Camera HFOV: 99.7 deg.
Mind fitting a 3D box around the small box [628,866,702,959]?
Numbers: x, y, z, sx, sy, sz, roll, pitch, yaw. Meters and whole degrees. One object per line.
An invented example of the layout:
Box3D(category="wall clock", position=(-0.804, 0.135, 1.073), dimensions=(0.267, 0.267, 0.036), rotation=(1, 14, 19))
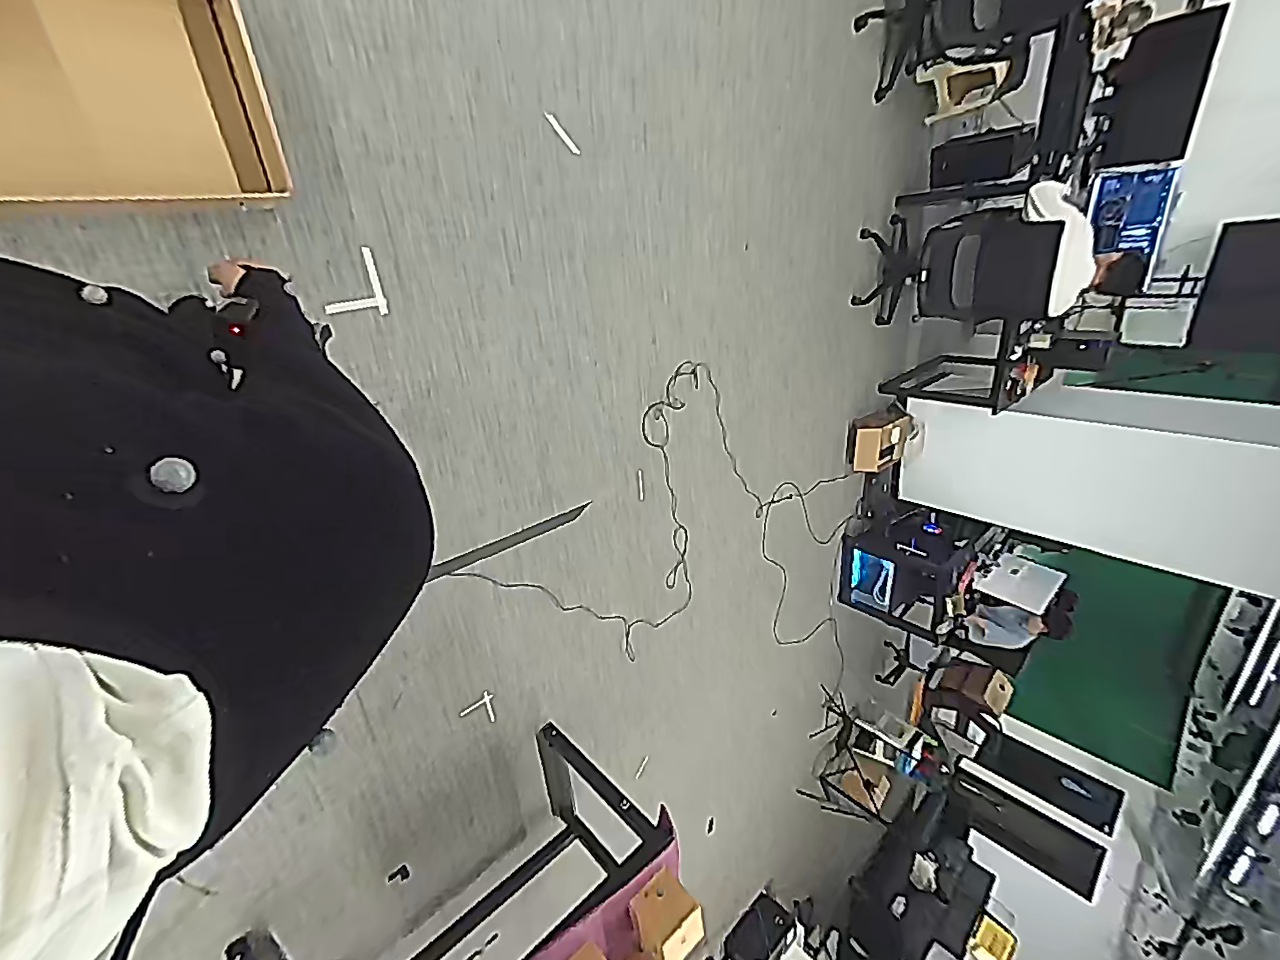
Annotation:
Box3D(category="small box", position=(0.081, 1.424, 1.766), dimensions=(0.168, 0.176, 0.179), rotation=(-26, 120, -33))

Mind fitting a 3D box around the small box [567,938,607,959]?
Box3D(category="small box", position=(-0.158, 1.504, 1.565), dimensions=(0.179, 0.176, 0.168), rotation=(-23, 119, -37))
